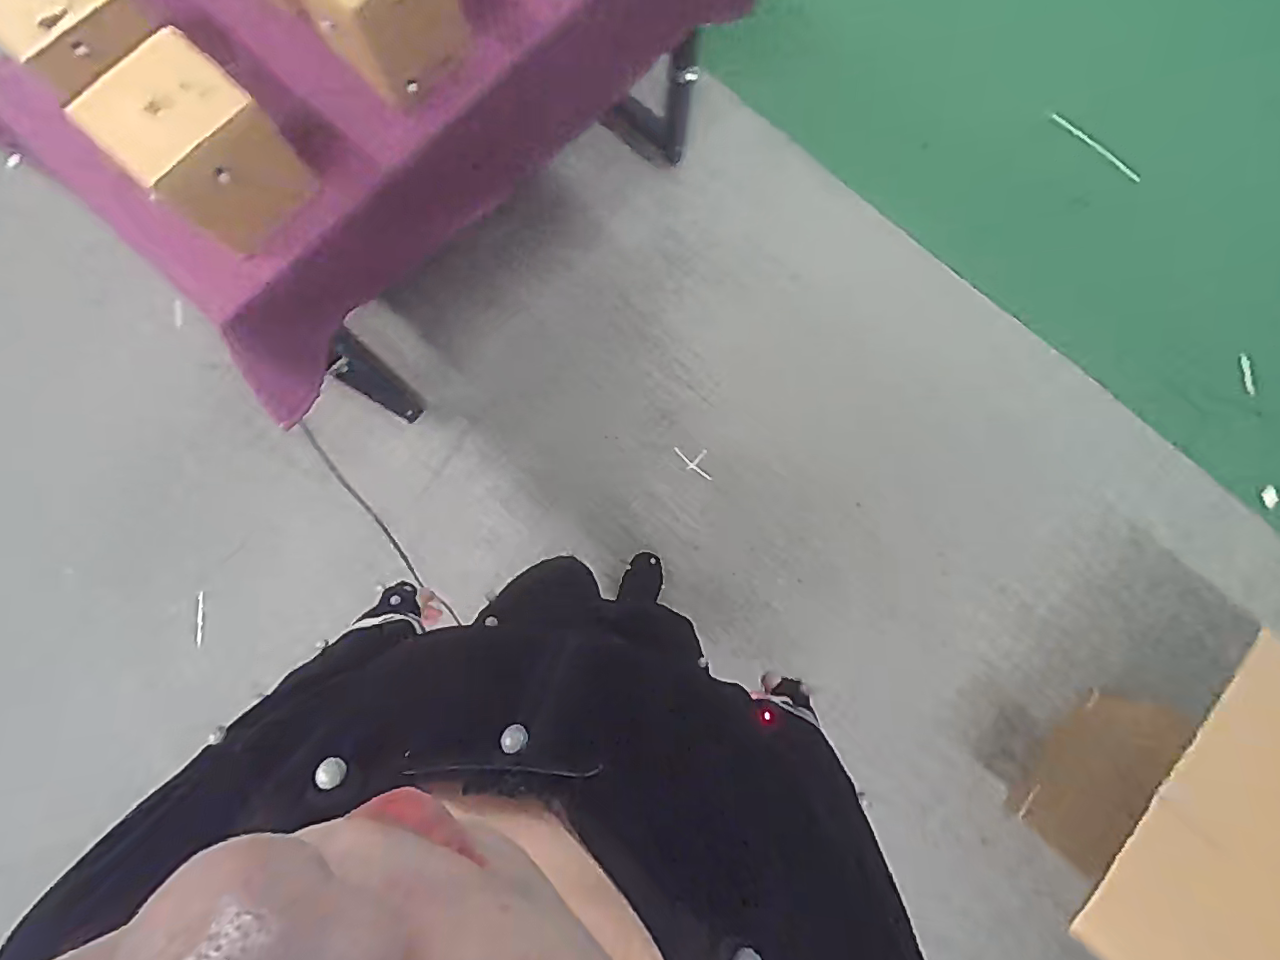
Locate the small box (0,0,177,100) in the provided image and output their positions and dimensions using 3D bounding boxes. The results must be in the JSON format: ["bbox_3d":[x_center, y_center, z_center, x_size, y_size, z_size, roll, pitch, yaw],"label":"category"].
[{"bbox_3d":[-0.791,-0.656,0.803,0.179,0.176,0.168,44,83,5],"label":"small box"}]

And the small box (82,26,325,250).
[{"bbox_3d":[-0.607,-0.475,0.780,0.168,0.176,0.179,43,83,5],"label":"small box"}]
